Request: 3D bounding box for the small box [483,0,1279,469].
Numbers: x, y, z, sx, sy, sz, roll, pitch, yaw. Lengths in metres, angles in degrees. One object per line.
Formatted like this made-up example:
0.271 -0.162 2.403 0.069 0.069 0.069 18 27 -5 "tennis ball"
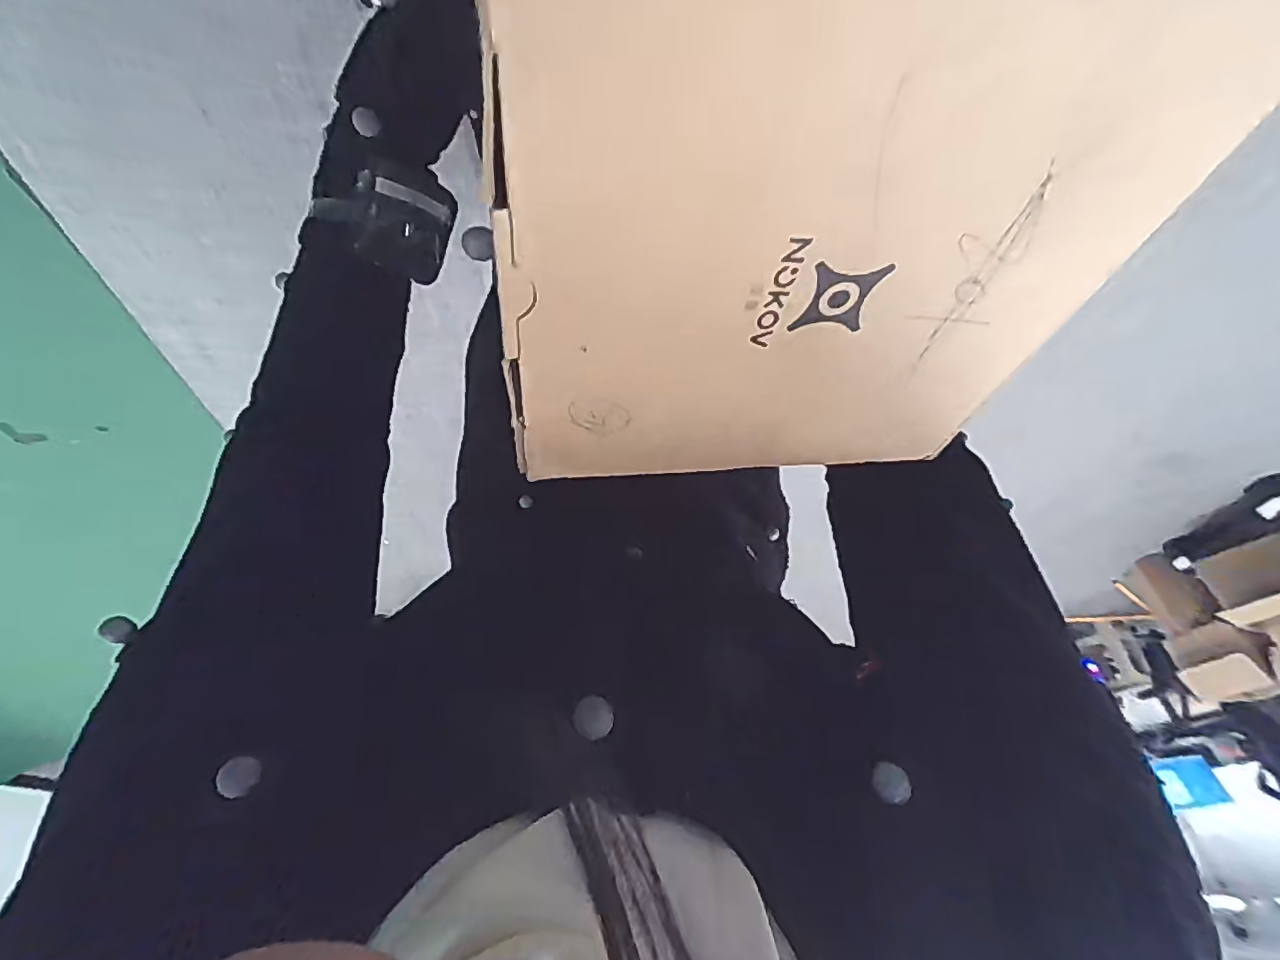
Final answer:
0.040 -0.123 0.194 0.179 0.176 0.168 -5 148 -11 "small box"
